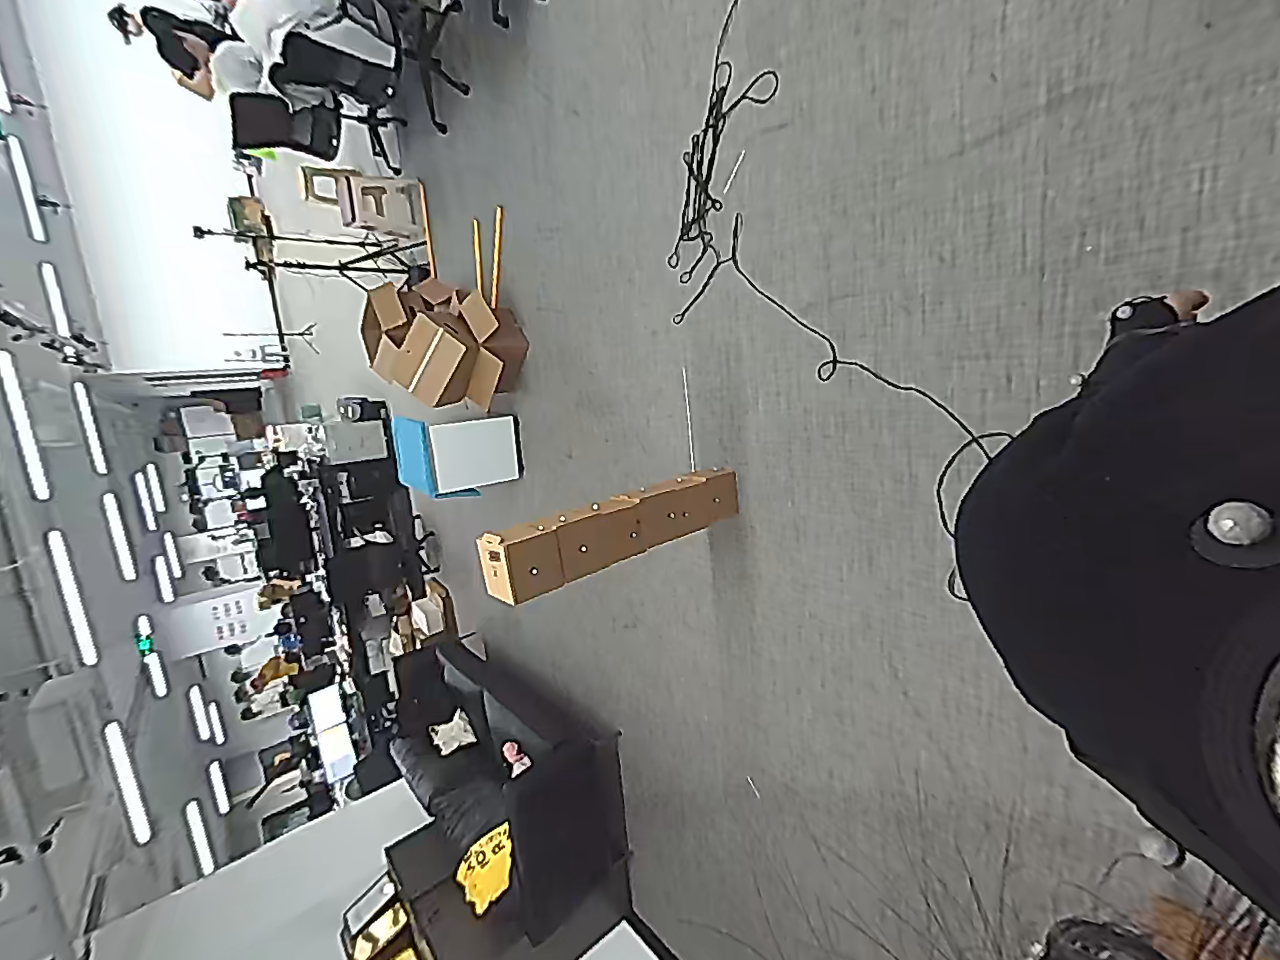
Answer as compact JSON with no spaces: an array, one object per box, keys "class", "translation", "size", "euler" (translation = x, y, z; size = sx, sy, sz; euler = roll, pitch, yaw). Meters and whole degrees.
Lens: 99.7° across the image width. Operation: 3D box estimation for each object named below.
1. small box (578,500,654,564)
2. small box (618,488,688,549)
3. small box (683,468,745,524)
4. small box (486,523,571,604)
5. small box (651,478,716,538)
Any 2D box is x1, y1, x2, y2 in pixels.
[{"class":"small box","translation":[-0.077,0.163,1.772],"size":[0.179,0.176,0.168],"euler":[1,102,50]},{"class":"small box","translation":[0.046,0.126,1.872],"size":[0.168,0.176,0.179],"euler":[2,102,51]},{"class":"small box","translation":[0.289,0.058,2.080],"size":[0.168,0.176,0.179],"euler":[5,104,51]},{"class":"small box","translation":[-0.320,0.232,1.562],"size":[0.168,0.176,0.179],"euler":[5,106,50]},{"class":"small box","translation":[0.163,0.099,1.983],"size":[0.168,0.176,0.179],"euler":[5,105,50]}]
